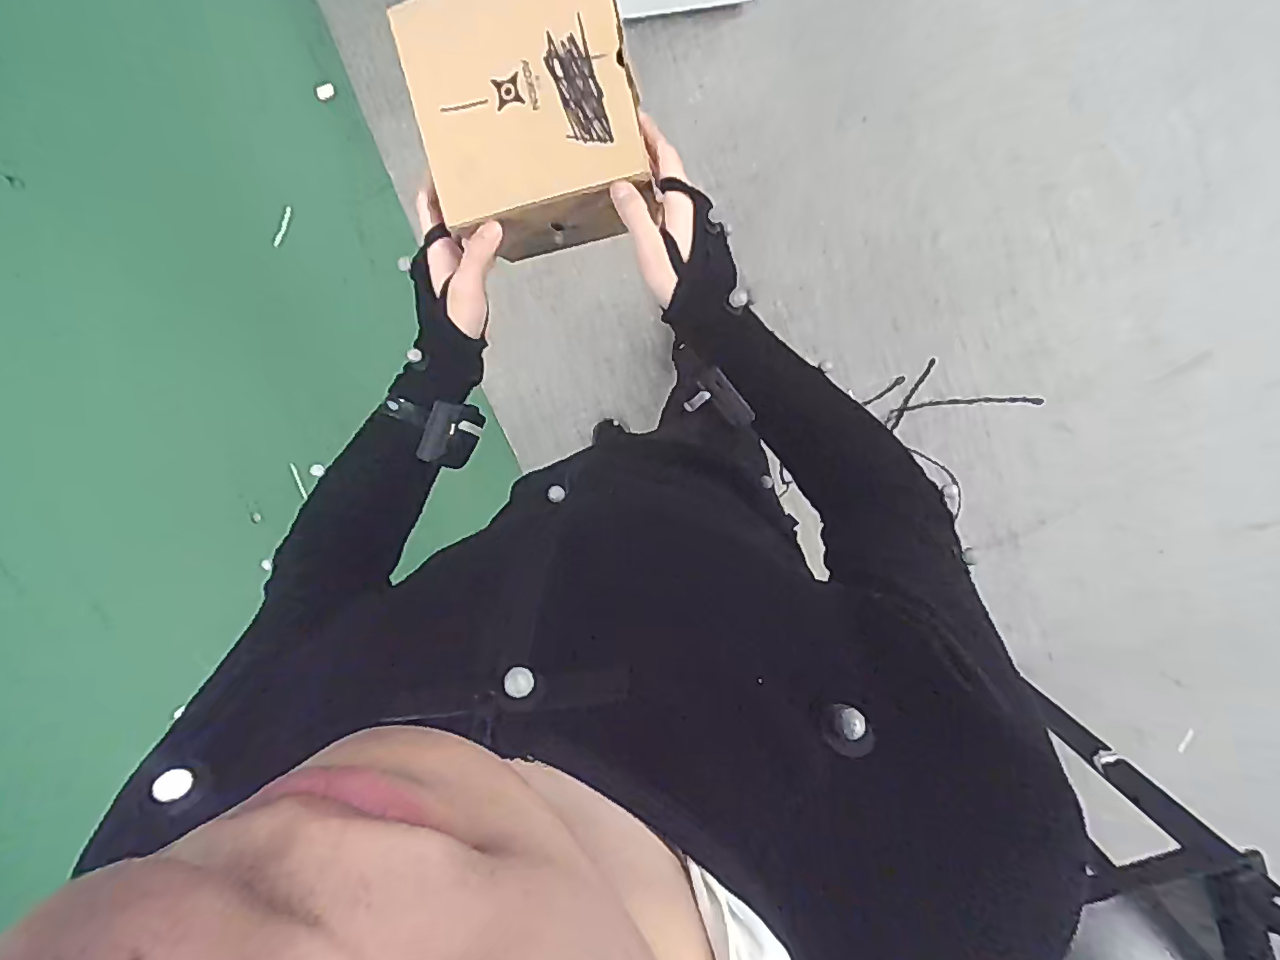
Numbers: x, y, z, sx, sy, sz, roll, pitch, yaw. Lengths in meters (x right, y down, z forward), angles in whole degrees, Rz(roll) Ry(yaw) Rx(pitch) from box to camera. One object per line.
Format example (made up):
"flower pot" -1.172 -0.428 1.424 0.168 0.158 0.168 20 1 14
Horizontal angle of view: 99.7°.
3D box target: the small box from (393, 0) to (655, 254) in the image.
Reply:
"small box" -0.085 -0.324 0.498 0.179 0.176 0.168 -10 100 8
